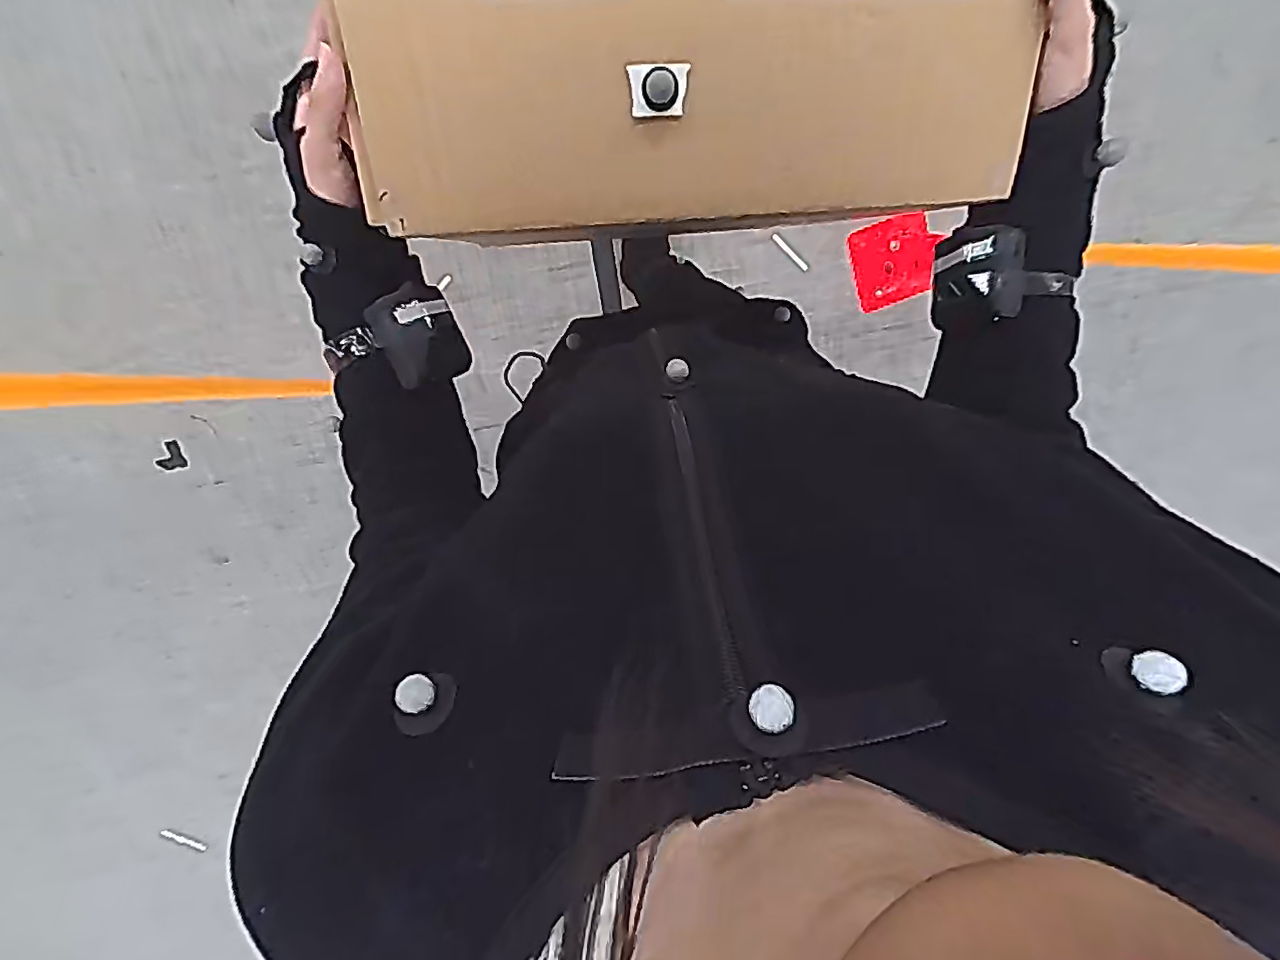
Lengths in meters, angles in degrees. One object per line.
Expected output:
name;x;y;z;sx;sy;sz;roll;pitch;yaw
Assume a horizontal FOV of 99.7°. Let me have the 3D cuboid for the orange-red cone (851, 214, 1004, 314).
orange-red cone;0.637;-0.469;1.161;0.199;0.360;0.198;-19;110;0
